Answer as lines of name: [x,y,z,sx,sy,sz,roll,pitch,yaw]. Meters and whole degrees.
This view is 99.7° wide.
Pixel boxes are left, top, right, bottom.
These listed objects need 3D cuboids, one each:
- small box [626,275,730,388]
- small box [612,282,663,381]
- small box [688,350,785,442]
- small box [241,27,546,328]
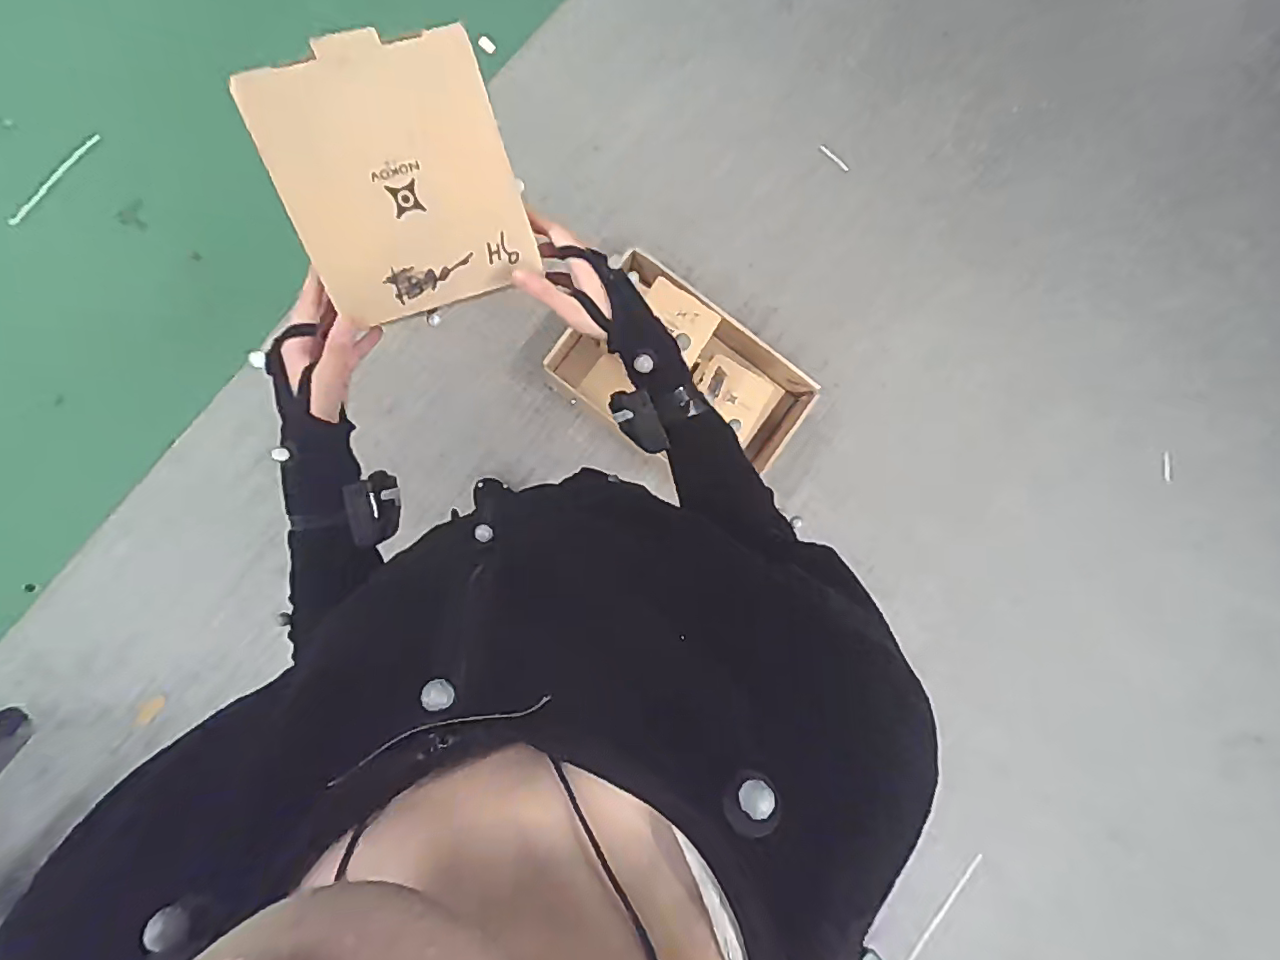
small box: [0.079,-0.330,1.247,0.168,0.176,0.179,32,89,-6]
small box: [0.038,-0.375,1.407,0.179,0.176,0.168,33,89,-5]
small box: [0.244,-0.210,1.421,0.179,0.176,0.168,30,88,-3]
small box: [-0.195,-0.245,0.482,0.168,0.176,0.179,-20,111,-6]
